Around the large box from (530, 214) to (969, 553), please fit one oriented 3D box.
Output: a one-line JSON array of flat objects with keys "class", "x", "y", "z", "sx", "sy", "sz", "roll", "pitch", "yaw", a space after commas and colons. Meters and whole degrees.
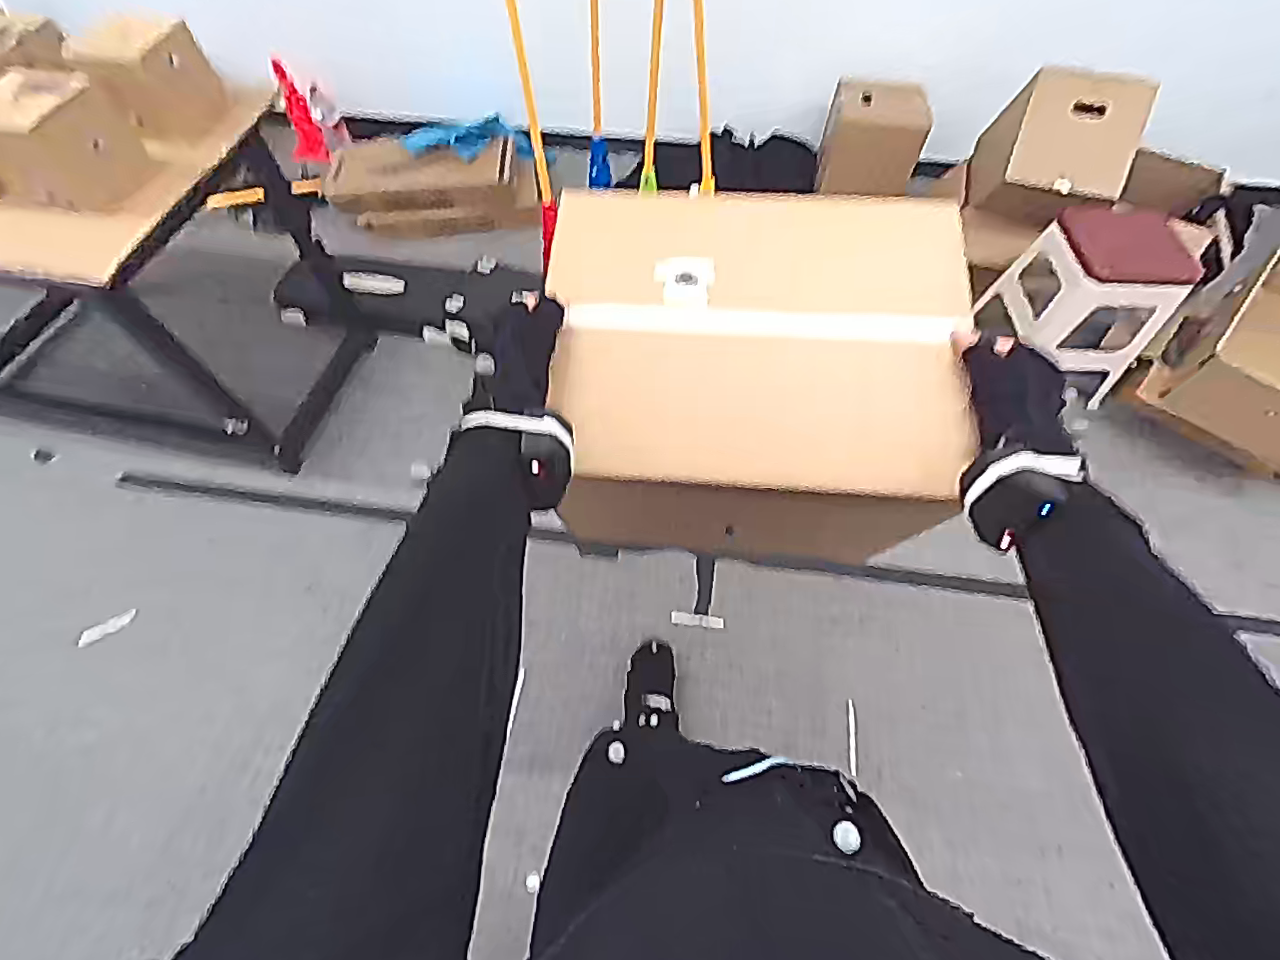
[{"class": "large box", "x": 0.117, "y": -0.095, "z": 0.677, "sx": 0.408, "sy": 0.320, "sz": 0.320, "roll": 4, "pitch": 71, "yaw": 6}]
